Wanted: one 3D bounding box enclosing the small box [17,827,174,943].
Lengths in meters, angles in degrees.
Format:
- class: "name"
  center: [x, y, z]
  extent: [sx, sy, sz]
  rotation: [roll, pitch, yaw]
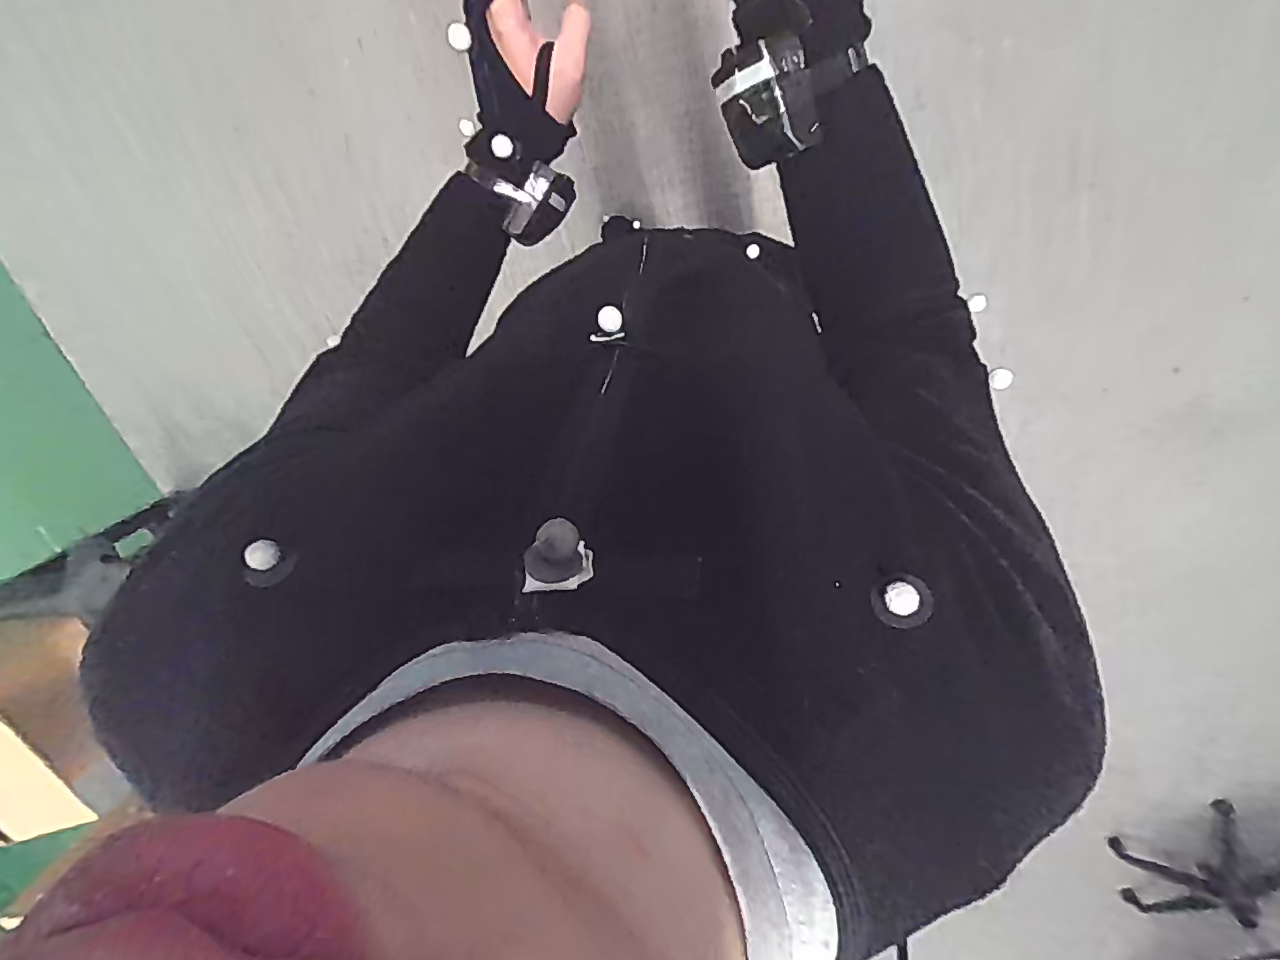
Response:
- class: "small box"
  center: [-1.260, 0.947, 1.273]
  extent: [0.179, 0.176, 0.168]
  rotation: [-10, 116, 15]
